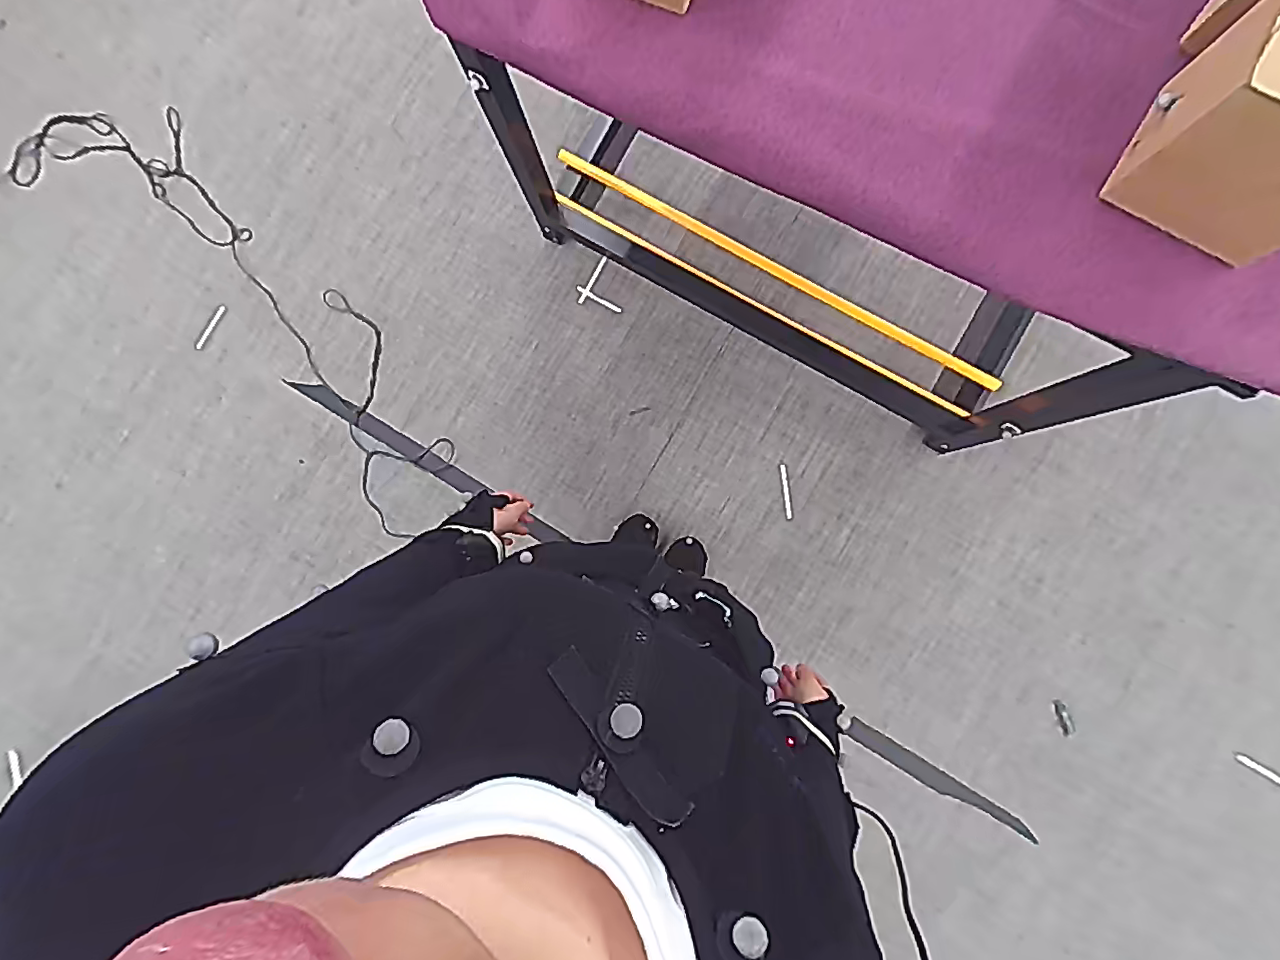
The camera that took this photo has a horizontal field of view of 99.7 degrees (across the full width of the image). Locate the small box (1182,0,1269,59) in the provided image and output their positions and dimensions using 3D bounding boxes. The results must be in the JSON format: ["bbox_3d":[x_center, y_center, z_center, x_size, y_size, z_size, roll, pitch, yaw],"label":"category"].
[{"bbox_3d":[0.756,-0.540,0.569,0.179,0.176,0.168,36,91,4],"label":"small box"}]

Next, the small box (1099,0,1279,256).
[{"bbox_3d":[0.655,-0.367,0.564,0.179,0.176,0.168,32,87,6],"label":"small box"}]
